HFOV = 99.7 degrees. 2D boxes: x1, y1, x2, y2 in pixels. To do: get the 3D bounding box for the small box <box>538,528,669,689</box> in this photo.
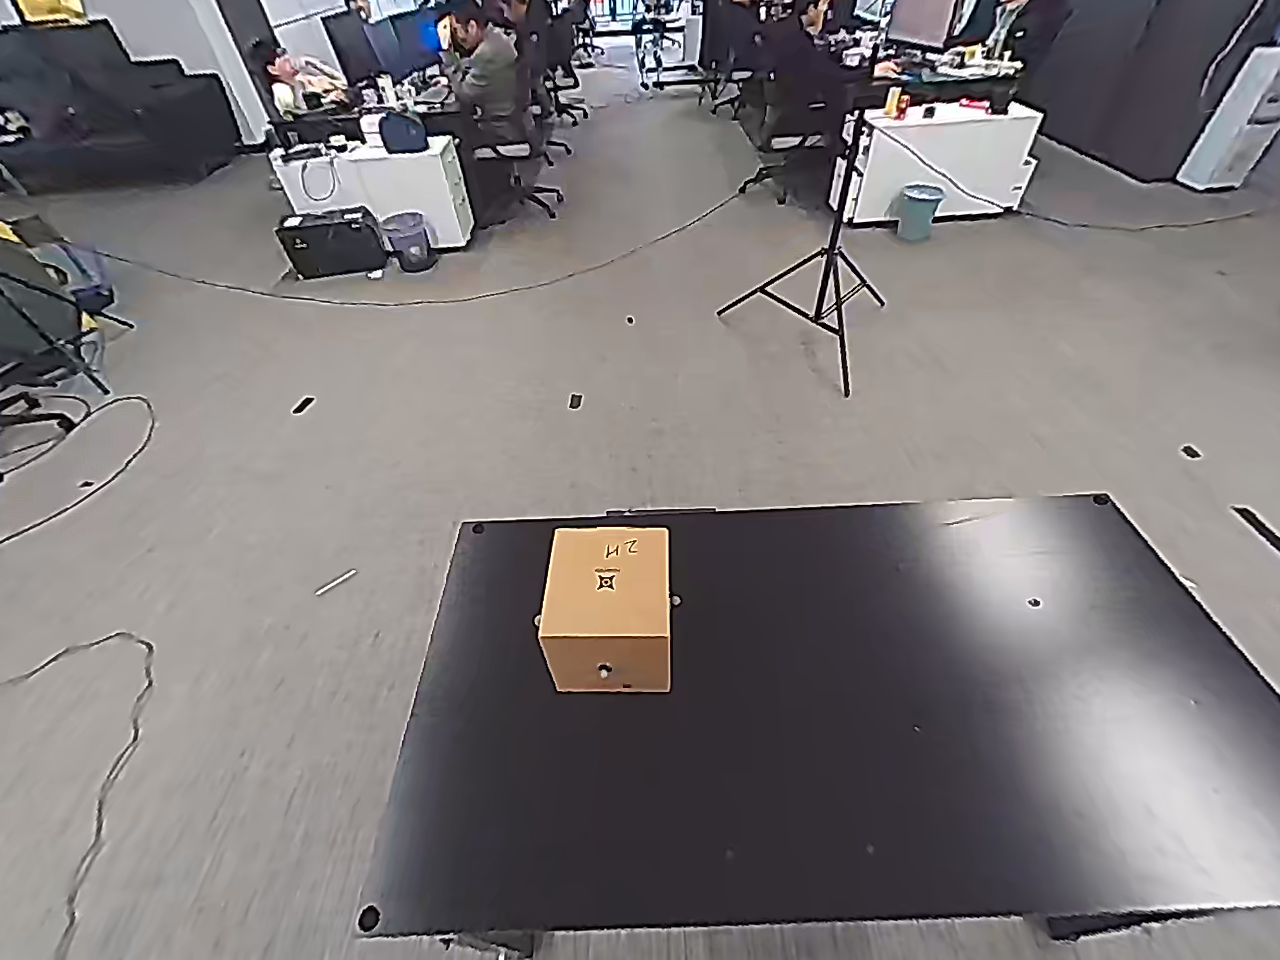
[{"bbox_3d":[-0.042,0.190,0.789,0.168,0.176,0.179,-1,45,3],"label":"small box"}]
